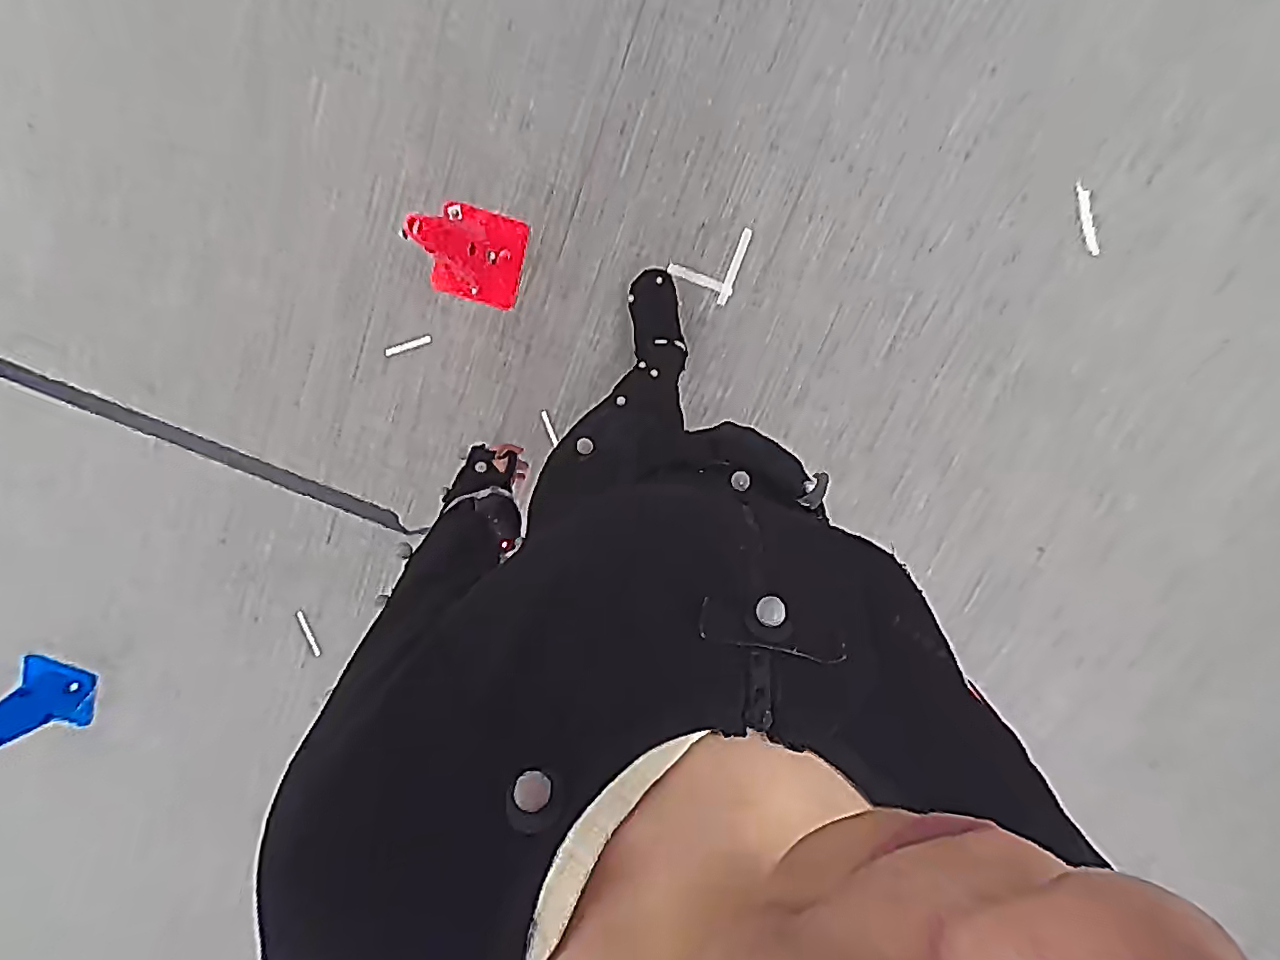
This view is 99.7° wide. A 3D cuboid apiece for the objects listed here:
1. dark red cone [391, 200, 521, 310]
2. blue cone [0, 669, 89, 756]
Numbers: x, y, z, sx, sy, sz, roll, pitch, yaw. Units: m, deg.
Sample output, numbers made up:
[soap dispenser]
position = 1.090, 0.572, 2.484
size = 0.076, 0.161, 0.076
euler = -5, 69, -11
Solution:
[dark red cone]
position = -0.377, -0.455, 1.046
size = 0.202, 0.394, 0.201
euler = 15, 105, -3
[blue cone]
position = -1.681, 0.678, 1.388
size = 0.193, 0.380, 0.192
euler = 23, 105, -5
